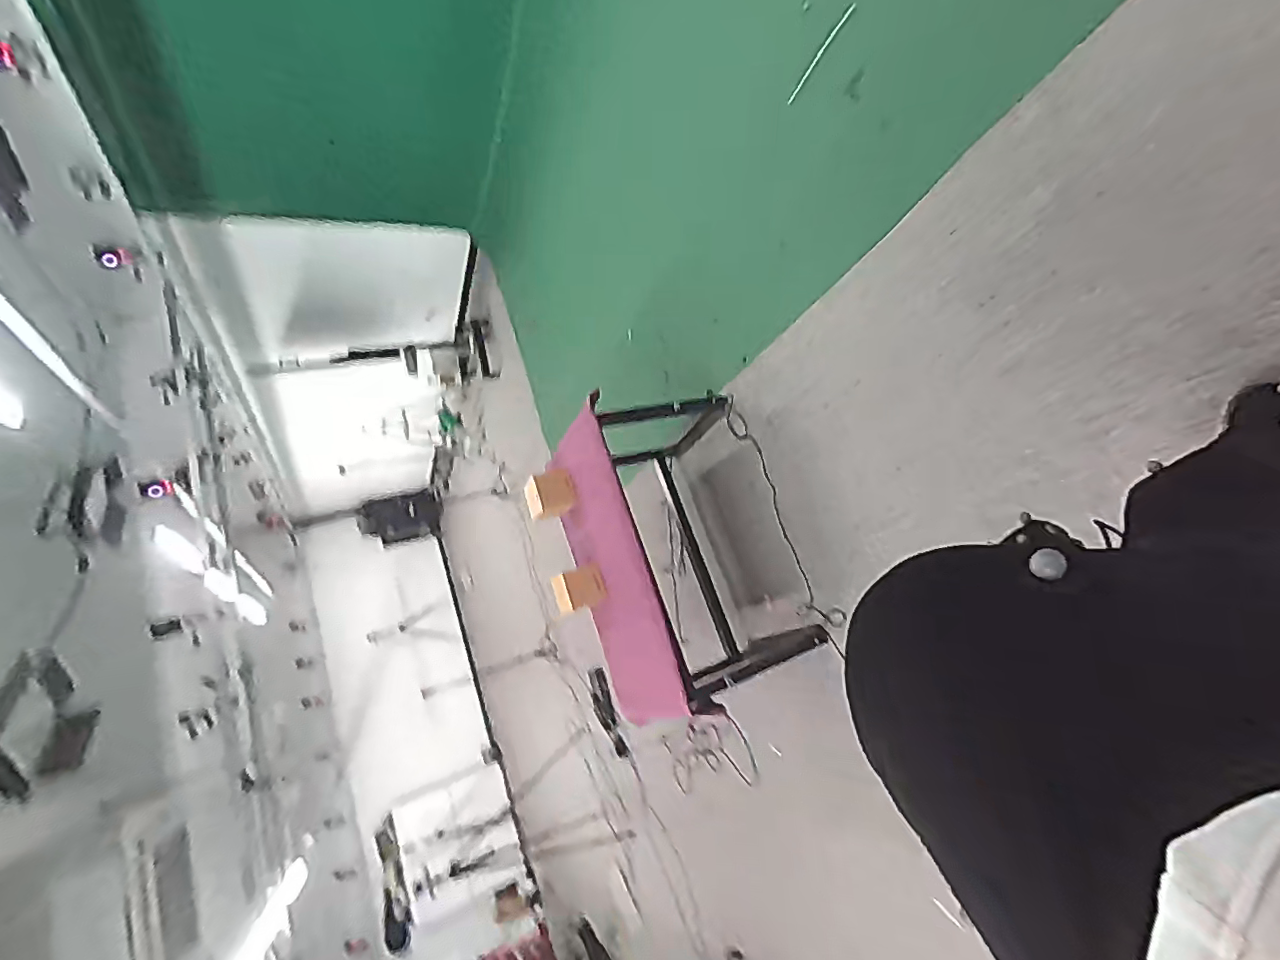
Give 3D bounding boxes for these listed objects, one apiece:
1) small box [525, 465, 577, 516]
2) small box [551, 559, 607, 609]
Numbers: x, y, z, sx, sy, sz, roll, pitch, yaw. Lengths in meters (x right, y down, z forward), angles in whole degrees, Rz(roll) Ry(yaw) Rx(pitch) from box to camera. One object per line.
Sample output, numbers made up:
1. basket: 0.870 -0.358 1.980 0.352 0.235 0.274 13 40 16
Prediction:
1. small box: -0.401 0.047 2.432 0.179 0.176 0.168 -40 67 58
2. small box: -0.264 0.452 2.344 0.179 0.176 0.168 -36 69 58
